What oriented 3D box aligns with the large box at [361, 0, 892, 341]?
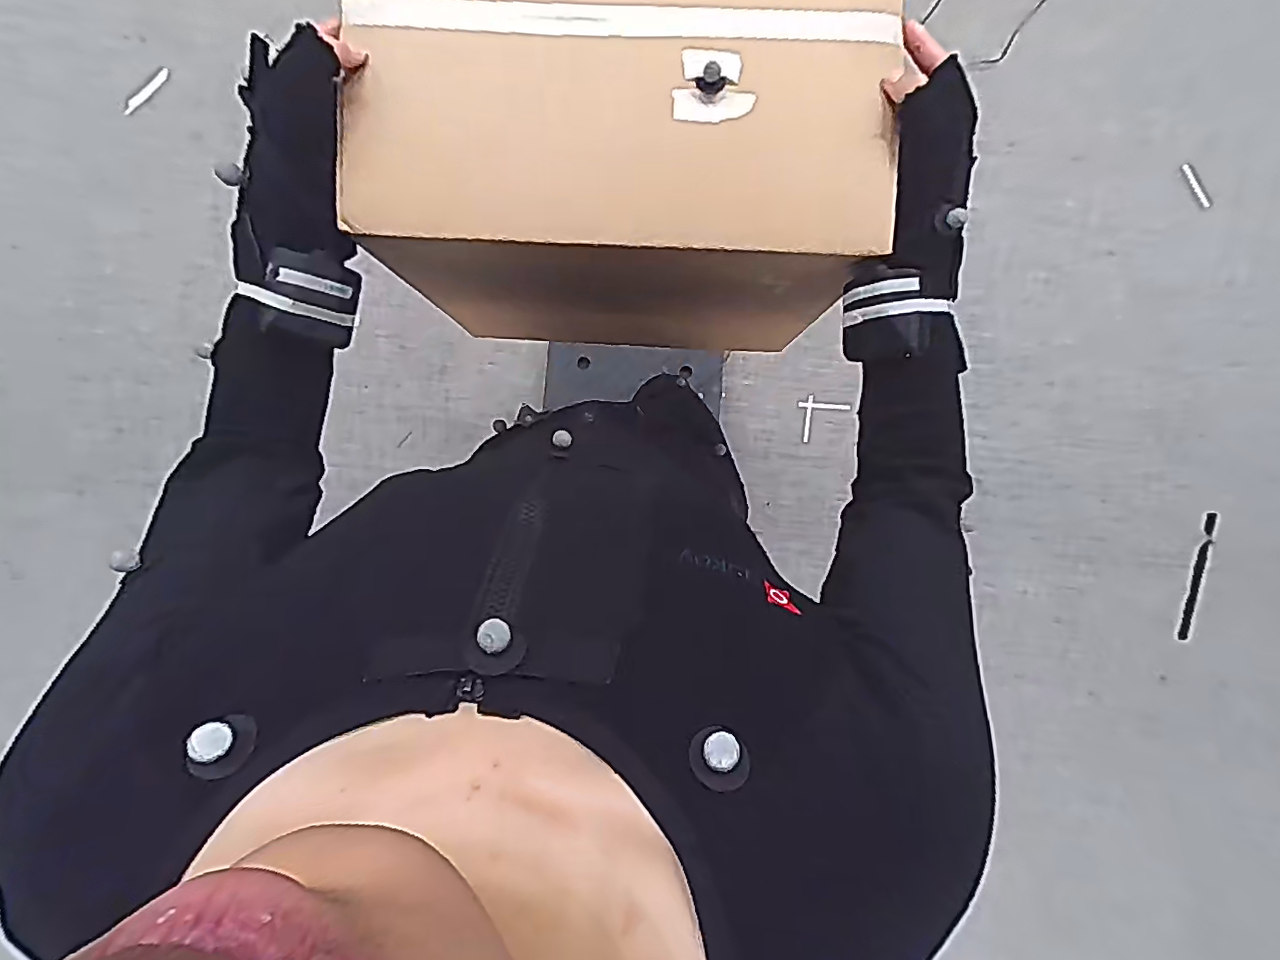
[{"bbox_3d":[-0.011,-0.337,0.557,0.408,0.320,0.320,2,91,0],"label":"large box"}]
